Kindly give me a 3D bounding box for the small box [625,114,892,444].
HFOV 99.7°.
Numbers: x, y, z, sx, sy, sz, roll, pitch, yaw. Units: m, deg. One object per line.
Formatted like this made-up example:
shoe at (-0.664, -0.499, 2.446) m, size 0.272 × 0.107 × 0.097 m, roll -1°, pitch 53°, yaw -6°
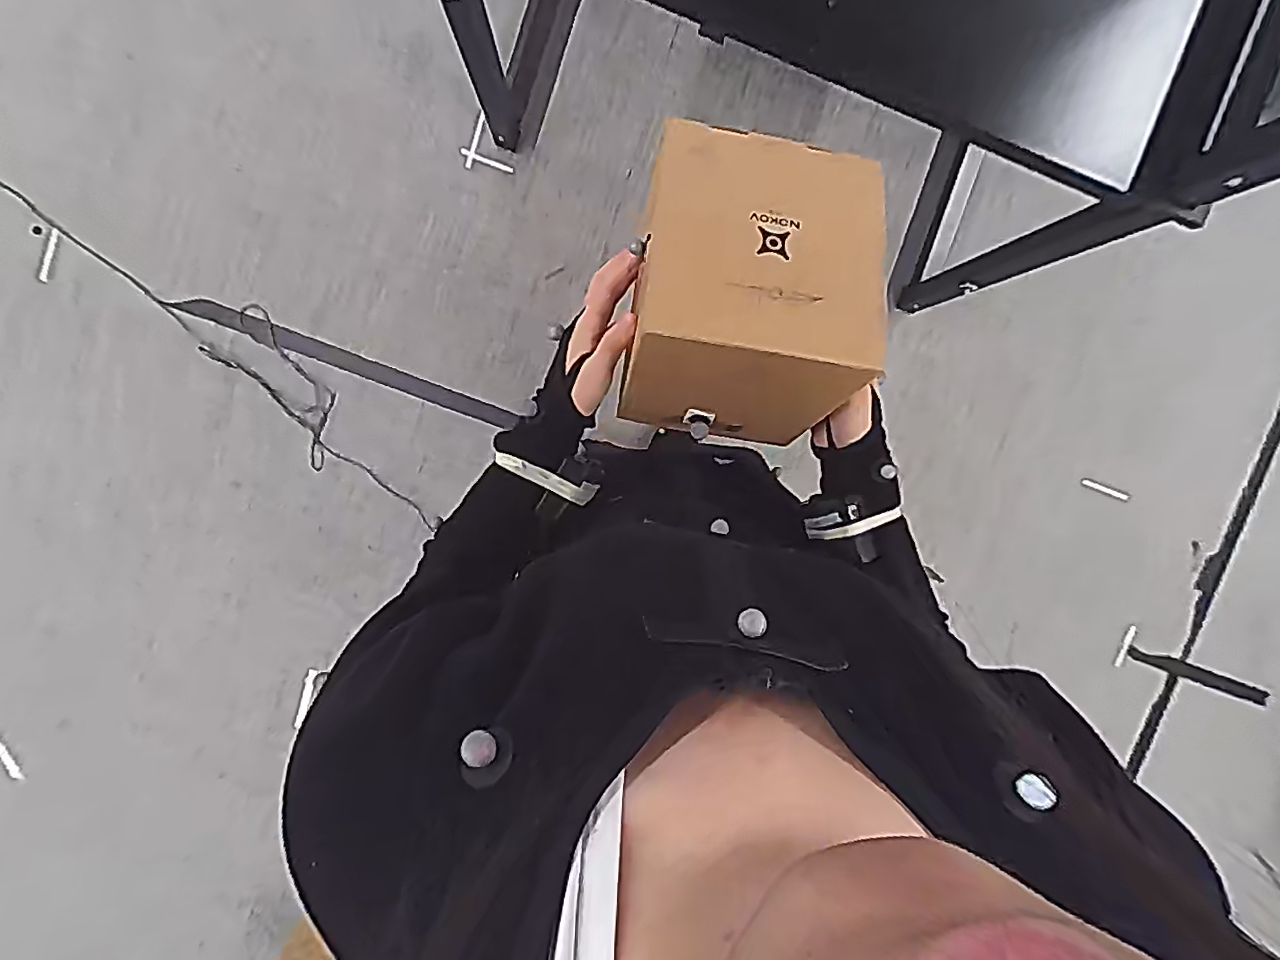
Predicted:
small box at (0.083, -0.146, 0.446) m, size 0.168 × 0.176 × 0.179 m, roll 8°, pitch 75°, yaw -6°
